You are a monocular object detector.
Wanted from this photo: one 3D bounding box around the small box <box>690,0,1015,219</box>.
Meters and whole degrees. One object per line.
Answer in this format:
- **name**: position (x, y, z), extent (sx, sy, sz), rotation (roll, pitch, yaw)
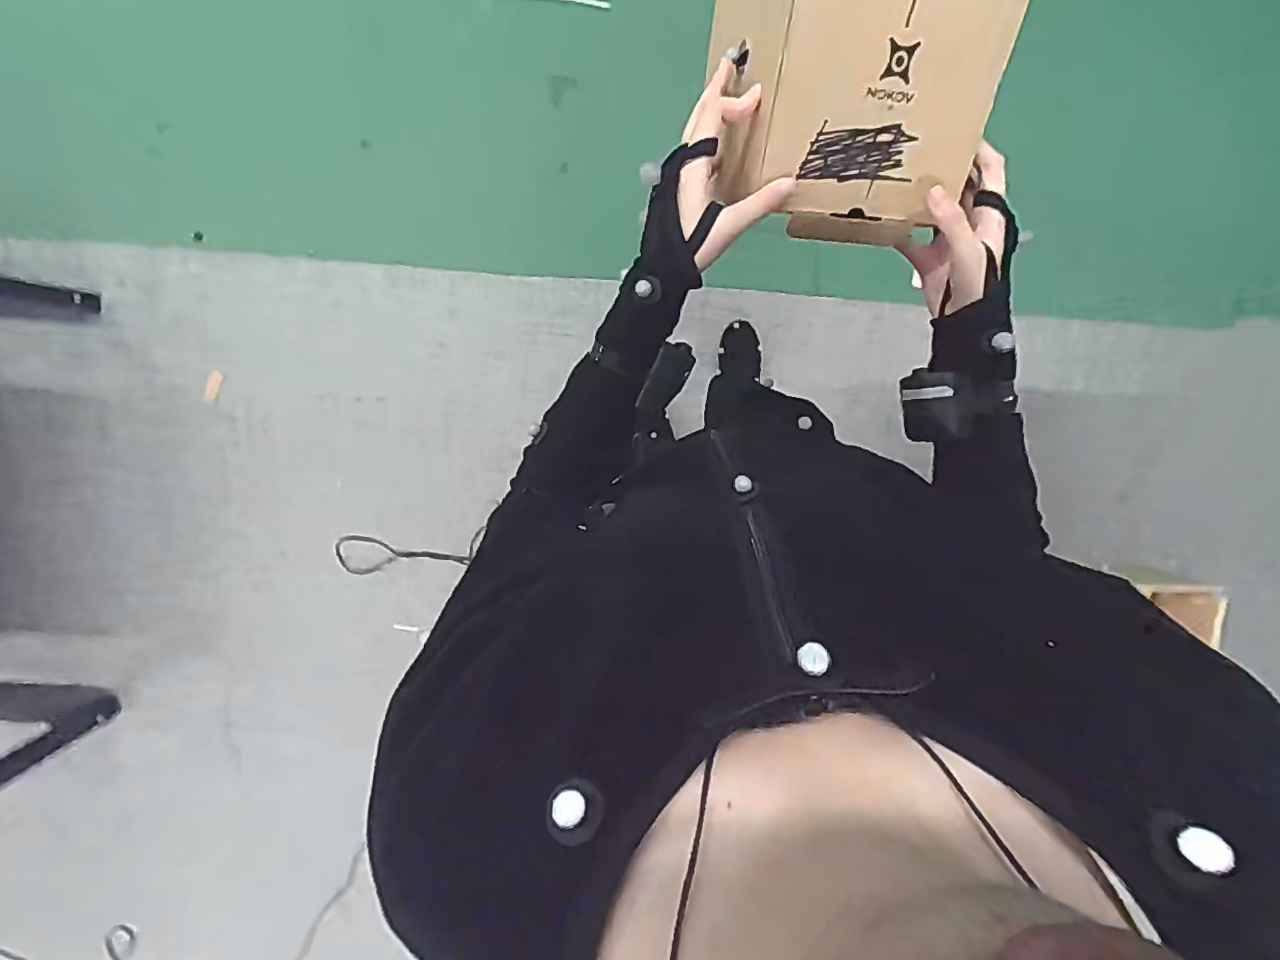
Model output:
- **small box**: position (0.145, -0.318, 0.427), extent (0.168, 0.176, 0.179), rotation (-1, 120, -13)
